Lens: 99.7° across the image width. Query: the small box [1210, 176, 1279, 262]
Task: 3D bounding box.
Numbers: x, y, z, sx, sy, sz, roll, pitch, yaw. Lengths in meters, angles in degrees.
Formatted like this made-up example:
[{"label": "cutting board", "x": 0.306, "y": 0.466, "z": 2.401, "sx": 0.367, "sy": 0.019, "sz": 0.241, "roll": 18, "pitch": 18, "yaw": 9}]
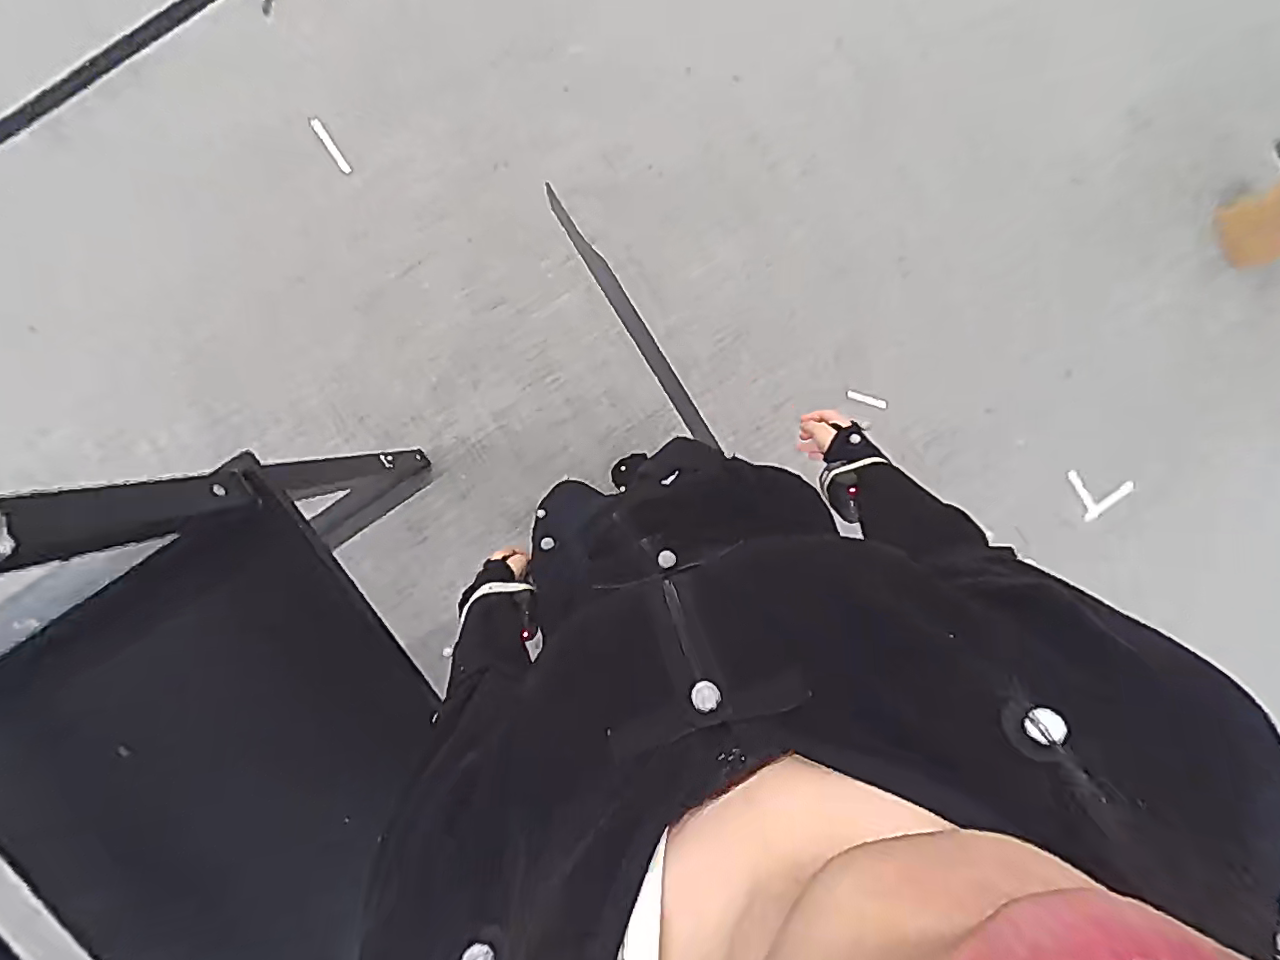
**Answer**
[{"label": "small box", "x": 1.742, "y": -0.723, "z": 1.476, "sx": 0.168, "sy": 0.176, "sz": 0.179, "roll": -34, "pitch": 96, "yaw": 0}]
